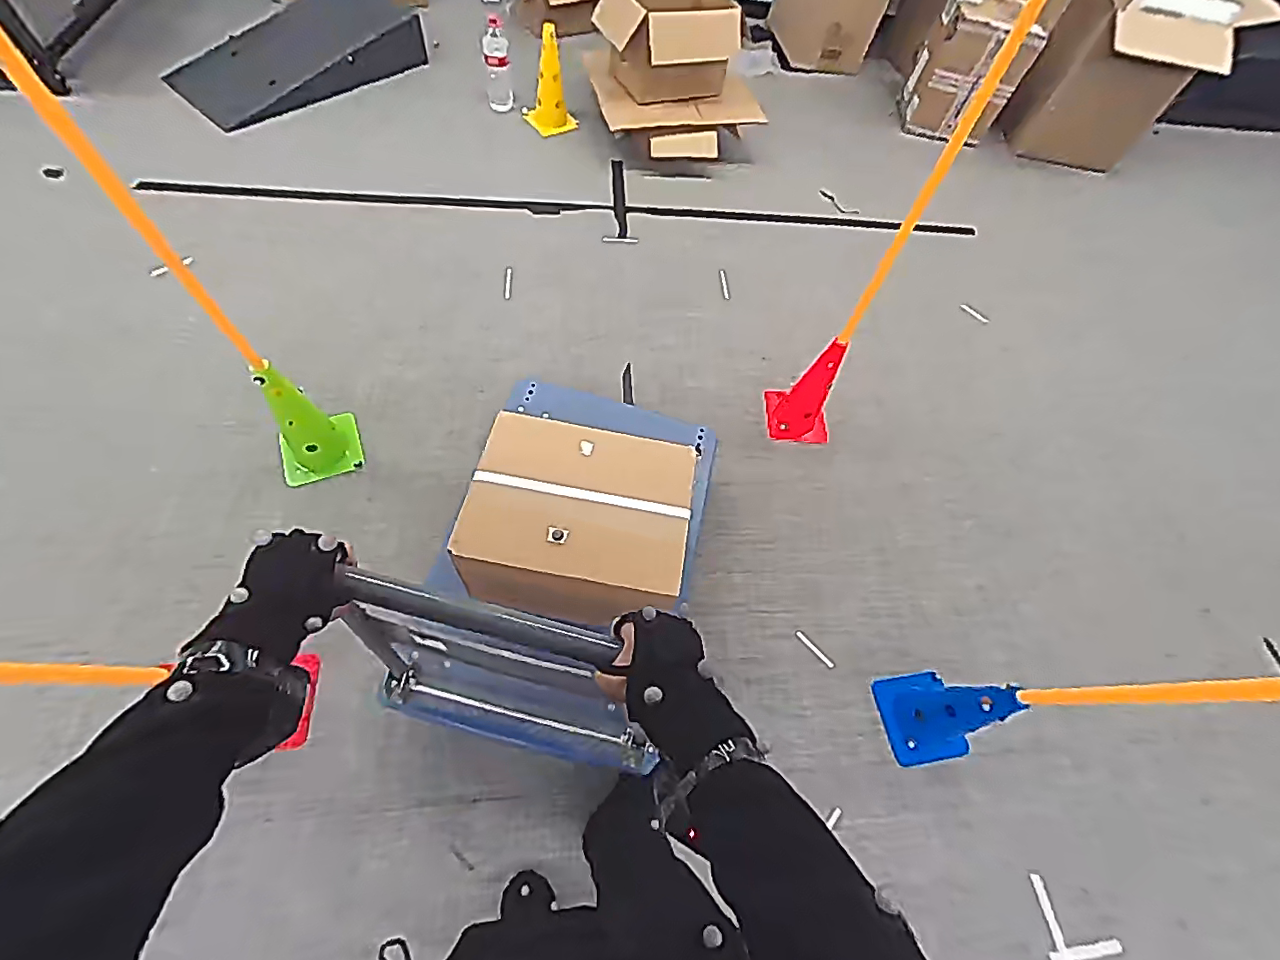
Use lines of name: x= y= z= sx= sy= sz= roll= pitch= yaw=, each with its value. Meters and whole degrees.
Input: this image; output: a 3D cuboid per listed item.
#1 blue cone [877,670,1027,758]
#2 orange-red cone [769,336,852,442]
blue cone: x=0.725 y=0.501 z=1.213 sx=0.193 sy=0.380 sz=0.192 roll=-4 pitch=60 yaw=-10
orange-red cone: x=0.539 y=-0.295 z=1.615 sx=0.199 sy=0.360 sz=0.198 roll=6 pitch=61 yaw=-5
